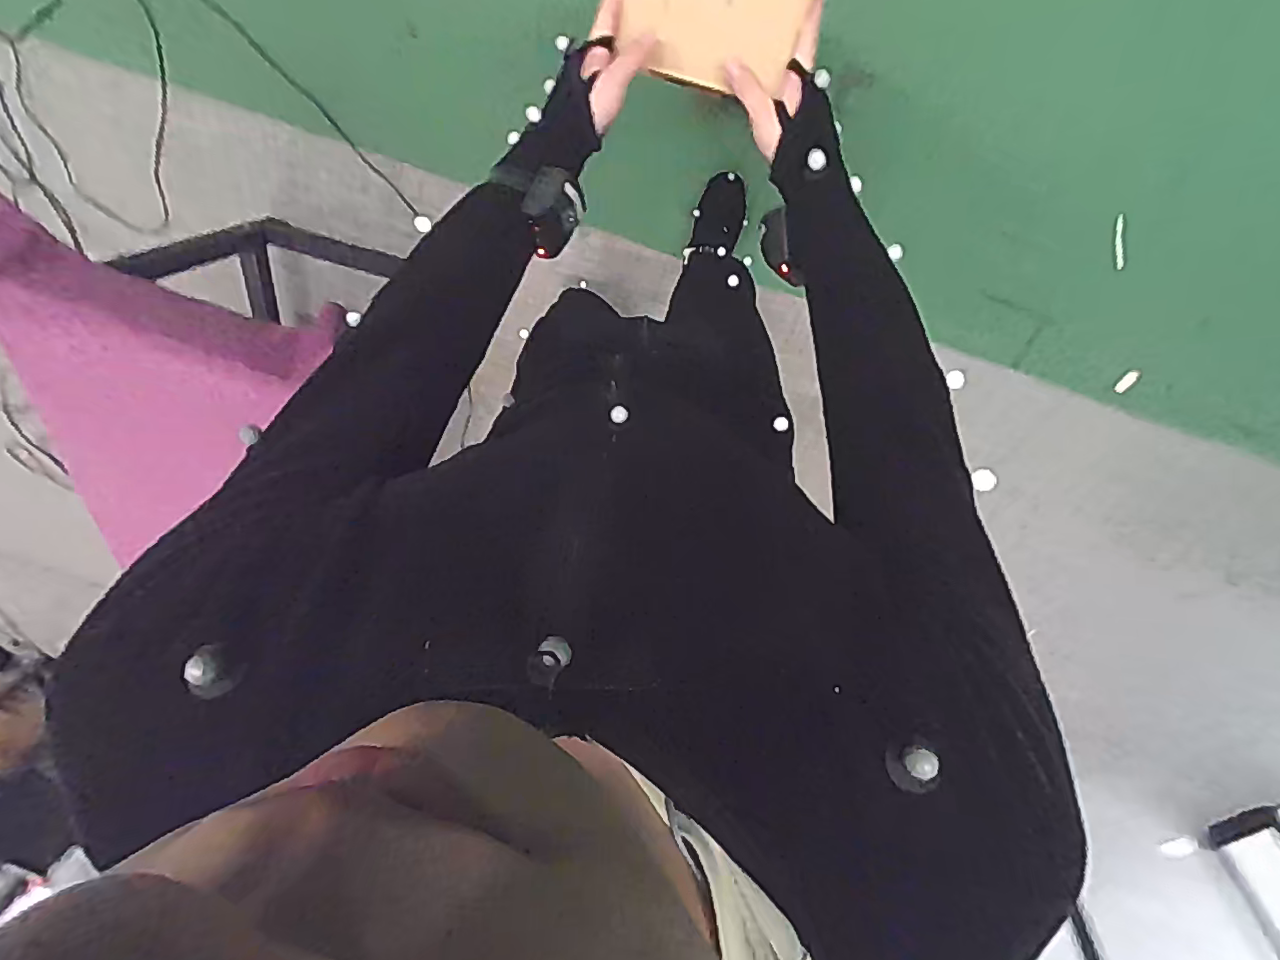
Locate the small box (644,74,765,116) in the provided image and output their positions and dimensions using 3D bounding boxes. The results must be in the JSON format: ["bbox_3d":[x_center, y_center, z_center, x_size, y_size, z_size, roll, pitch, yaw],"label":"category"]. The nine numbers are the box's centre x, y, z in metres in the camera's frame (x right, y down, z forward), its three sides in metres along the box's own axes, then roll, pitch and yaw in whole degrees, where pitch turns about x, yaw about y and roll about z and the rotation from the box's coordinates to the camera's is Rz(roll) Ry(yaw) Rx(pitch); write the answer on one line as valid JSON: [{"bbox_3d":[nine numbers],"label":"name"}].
[{"bbox_3d":[0.116,-0.592,0.689,0.168,0.176,0.179,17,128,1],"label":"small box"}]

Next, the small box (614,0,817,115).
[{"bbox_3d":[0.090,-0.499,0.557,0.179,0.176,0.168,18,126,1],"label":"small box"}]
